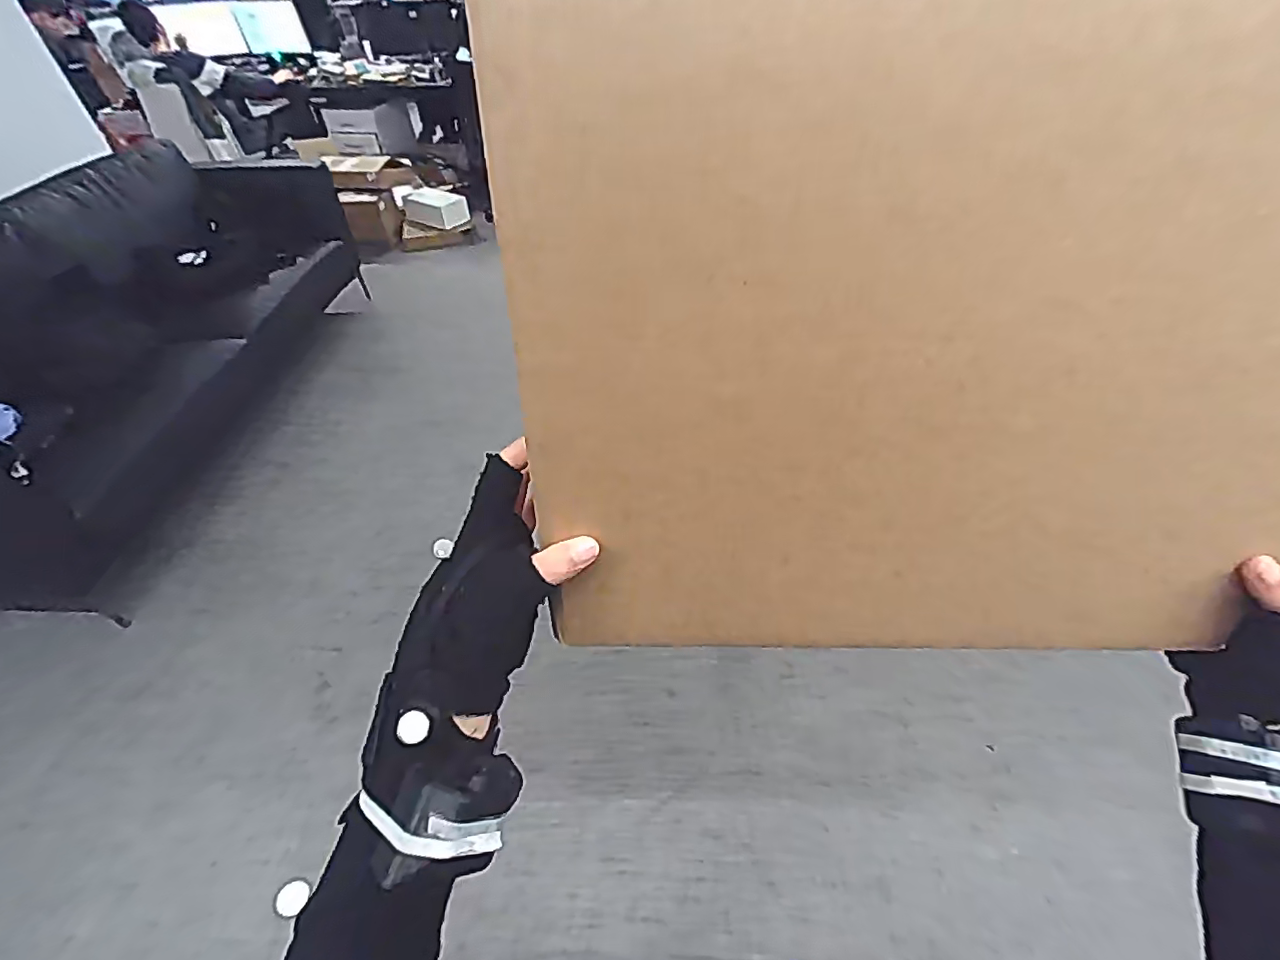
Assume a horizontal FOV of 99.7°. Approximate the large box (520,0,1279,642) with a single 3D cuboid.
[{"bbox_3d":[0.152,-0.110,0.365,0.408,0.320,0.320,1,36,-1],"label":"large box"}]
